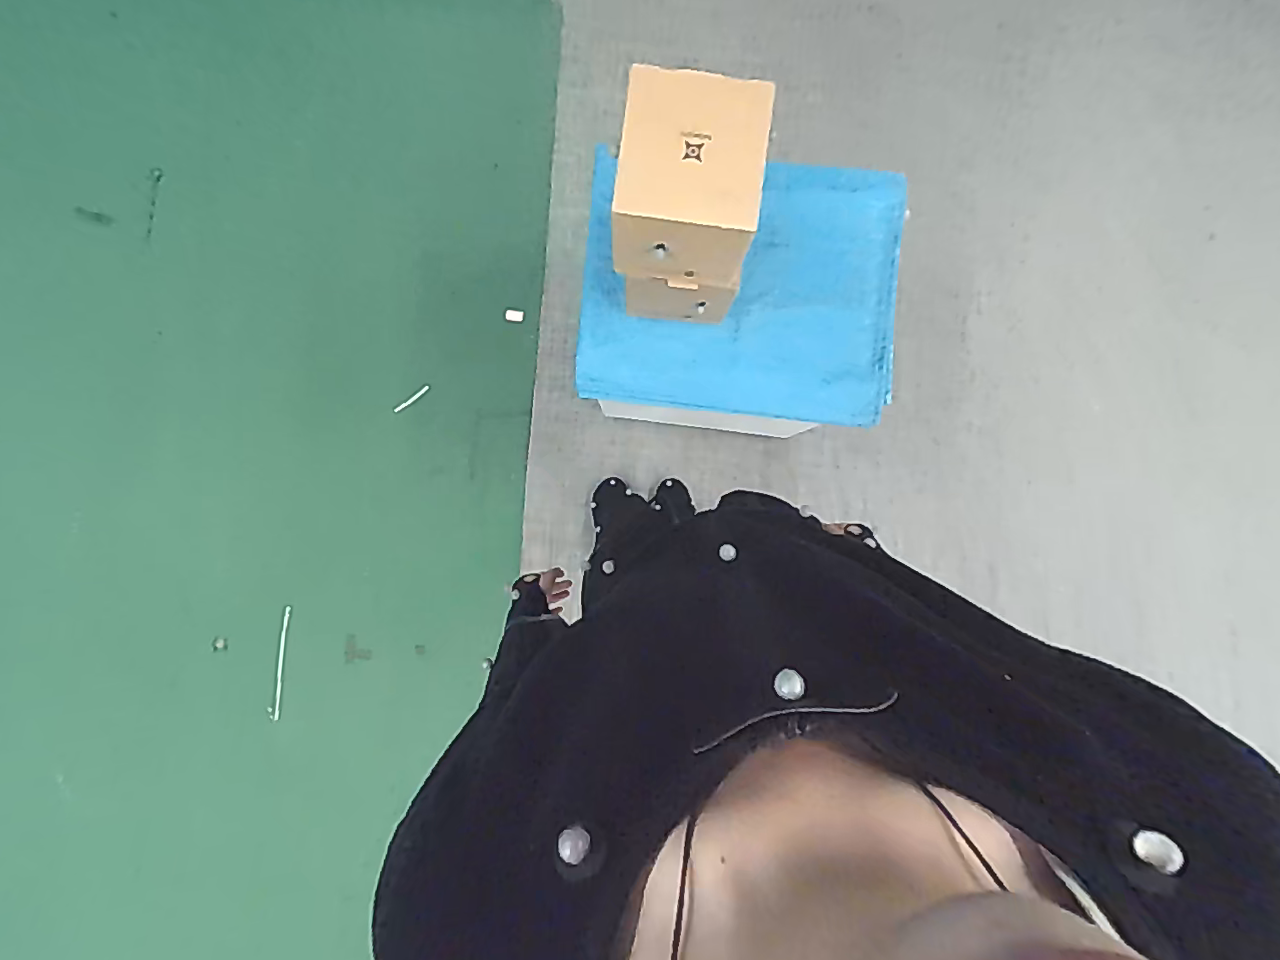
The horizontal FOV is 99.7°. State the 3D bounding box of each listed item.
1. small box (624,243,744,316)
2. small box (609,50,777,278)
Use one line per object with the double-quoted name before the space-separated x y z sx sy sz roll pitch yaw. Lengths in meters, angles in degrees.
"small box" 0.068 -0.369 0.833 0.168 0.176 0.179 7 88 -1
"small box" 0.058 -0.374 0.671 0.168 0.176 0.179 8 87 -1
